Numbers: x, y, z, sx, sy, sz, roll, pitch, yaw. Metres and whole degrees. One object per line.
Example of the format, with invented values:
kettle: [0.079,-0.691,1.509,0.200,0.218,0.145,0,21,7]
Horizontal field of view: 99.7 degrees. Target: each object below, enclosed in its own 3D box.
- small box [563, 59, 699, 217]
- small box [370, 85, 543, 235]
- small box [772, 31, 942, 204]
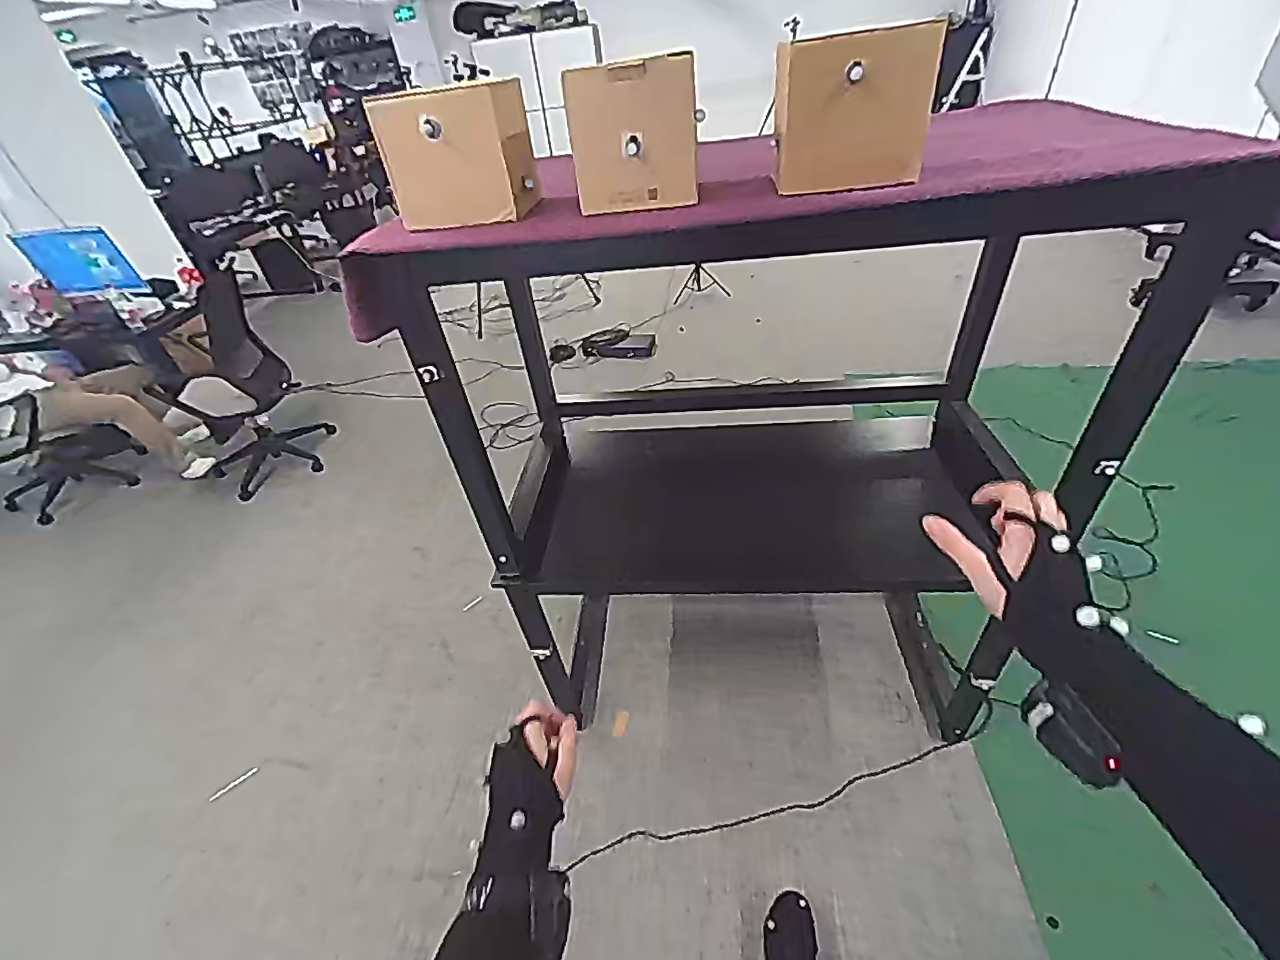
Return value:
small box: [-0.001,-0.487,0.779,0.168,0.176,0.179,-2,38,7]
small box: [-0.260,-0.480,0.815,0.179,0.176,0.168,-2,39,6]
small box: [0.279,-0.493,0.740,0.179,0.176,0.168,-2,37,9]
